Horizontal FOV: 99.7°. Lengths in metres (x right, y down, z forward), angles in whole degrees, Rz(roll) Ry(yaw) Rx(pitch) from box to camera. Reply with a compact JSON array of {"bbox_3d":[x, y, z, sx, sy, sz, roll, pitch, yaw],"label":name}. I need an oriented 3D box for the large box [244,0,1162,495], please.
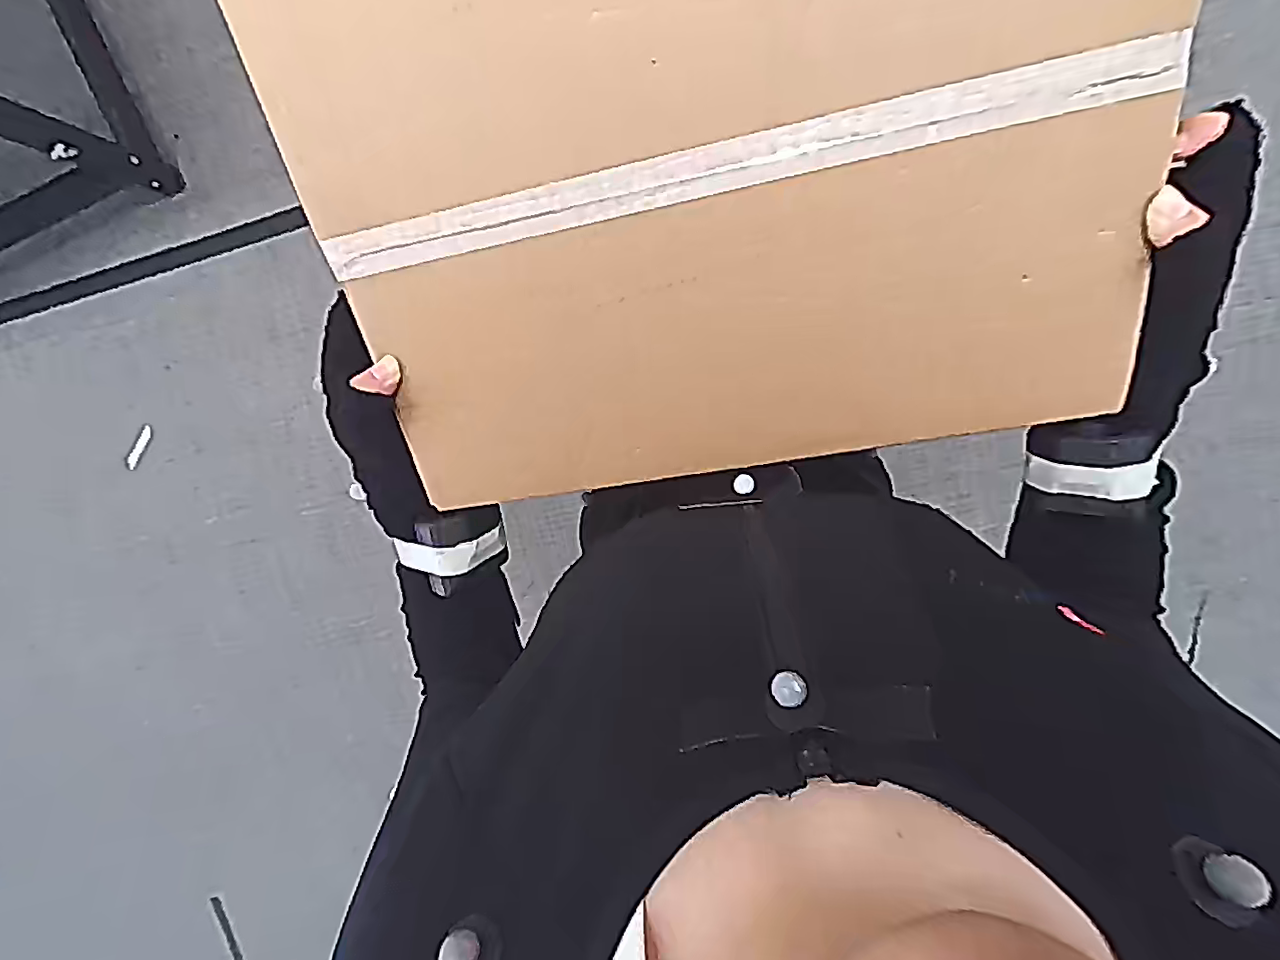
[{"bbox_3d":[0.040,-0.218,0.403,0.408,0.320,0.320,-8,116,9],"label":"large box"}]
